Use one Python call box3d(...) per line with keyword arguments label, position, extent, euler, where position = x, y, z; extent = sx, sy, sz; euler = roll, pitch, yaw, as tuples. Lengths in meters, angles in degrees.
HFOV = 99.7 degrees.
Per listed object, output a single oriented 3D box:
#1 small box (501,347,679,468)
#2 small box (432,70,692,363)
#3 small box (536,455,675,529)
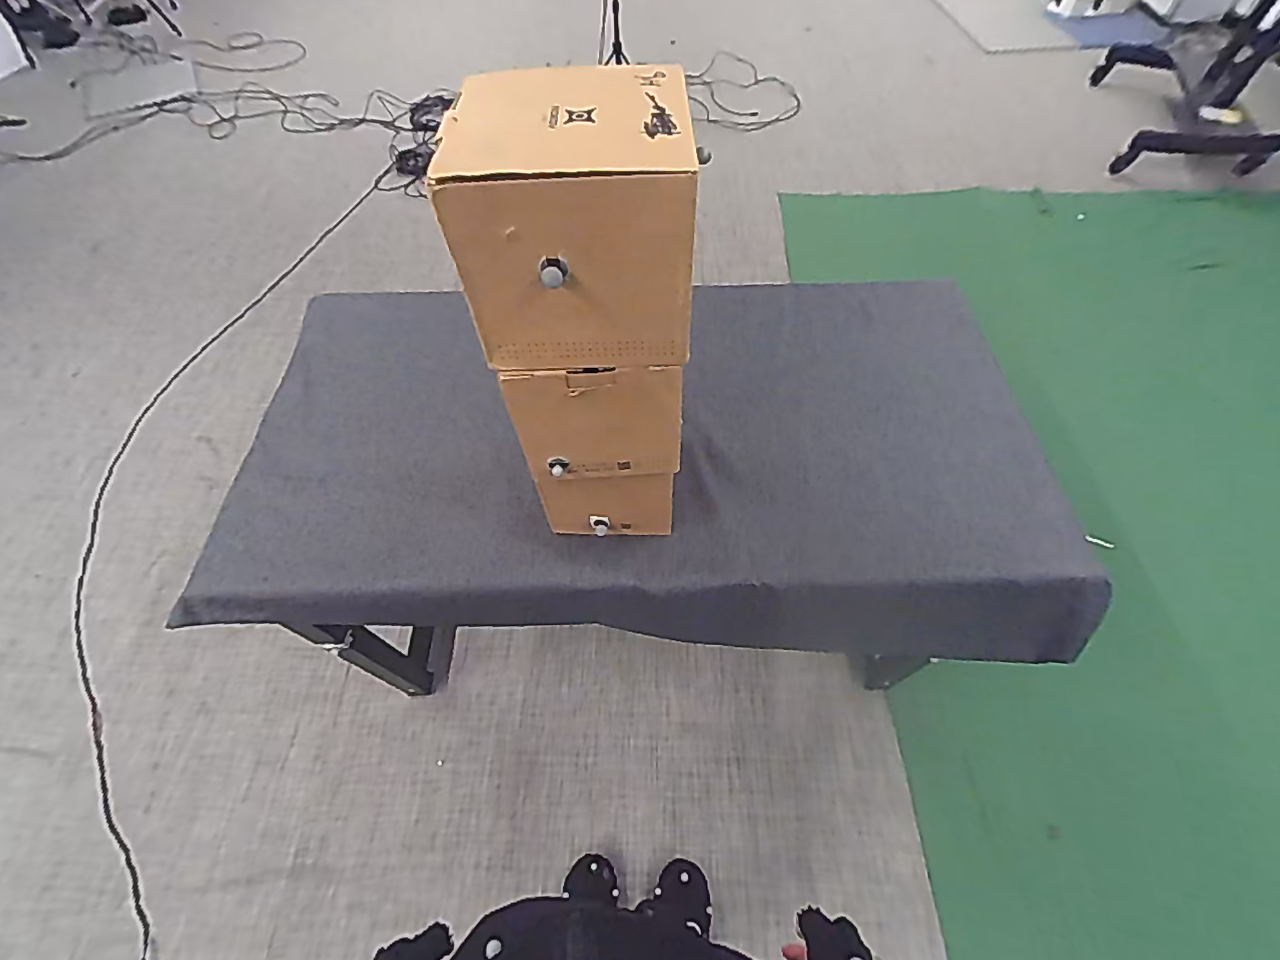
box3d(label="small box", position=(-0.048, -0.126, 0.597), extent=(0.168, 0.176, 0.179), euler=(-7, 58, -1))
box3d(label="small box", position=(-0.051, -0.217, 0.464), extent=(0.179, 0.176, 0.168), euler=(-4, 55, -1))
box3d(label="small box", position=(-0.037, -0.048, 0.741), extent=(0.168, 0.176, 0.179), euler=(-1, 58, 3))
